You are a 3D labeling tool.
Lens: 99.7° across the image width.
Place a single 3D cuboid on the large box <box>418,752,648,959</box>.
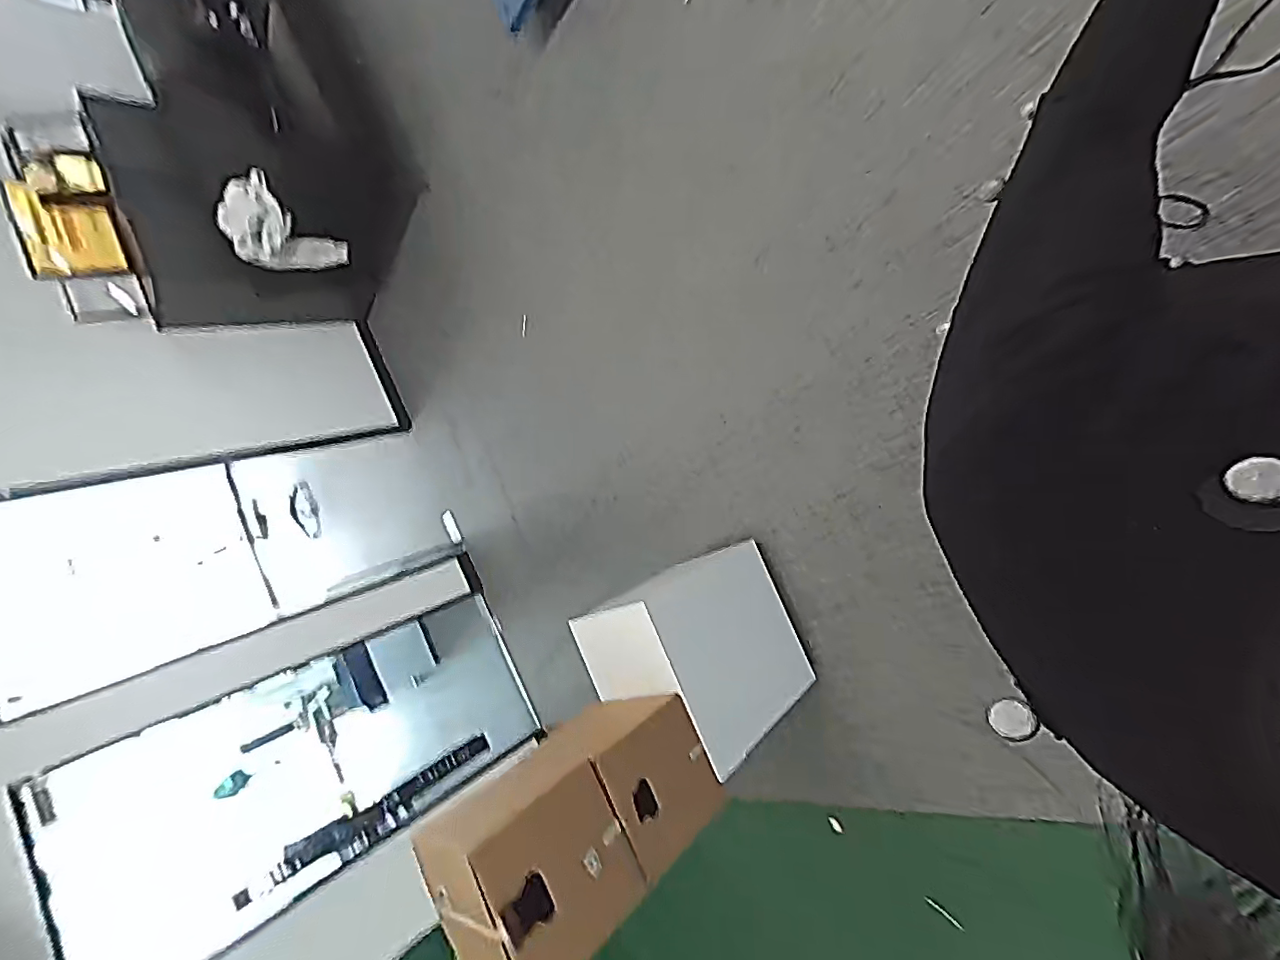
[{"bbox_3d":[-0.255,0.864,1.240,0.408,0.320,0.320,-36,78,47],"label":"large box"}]
